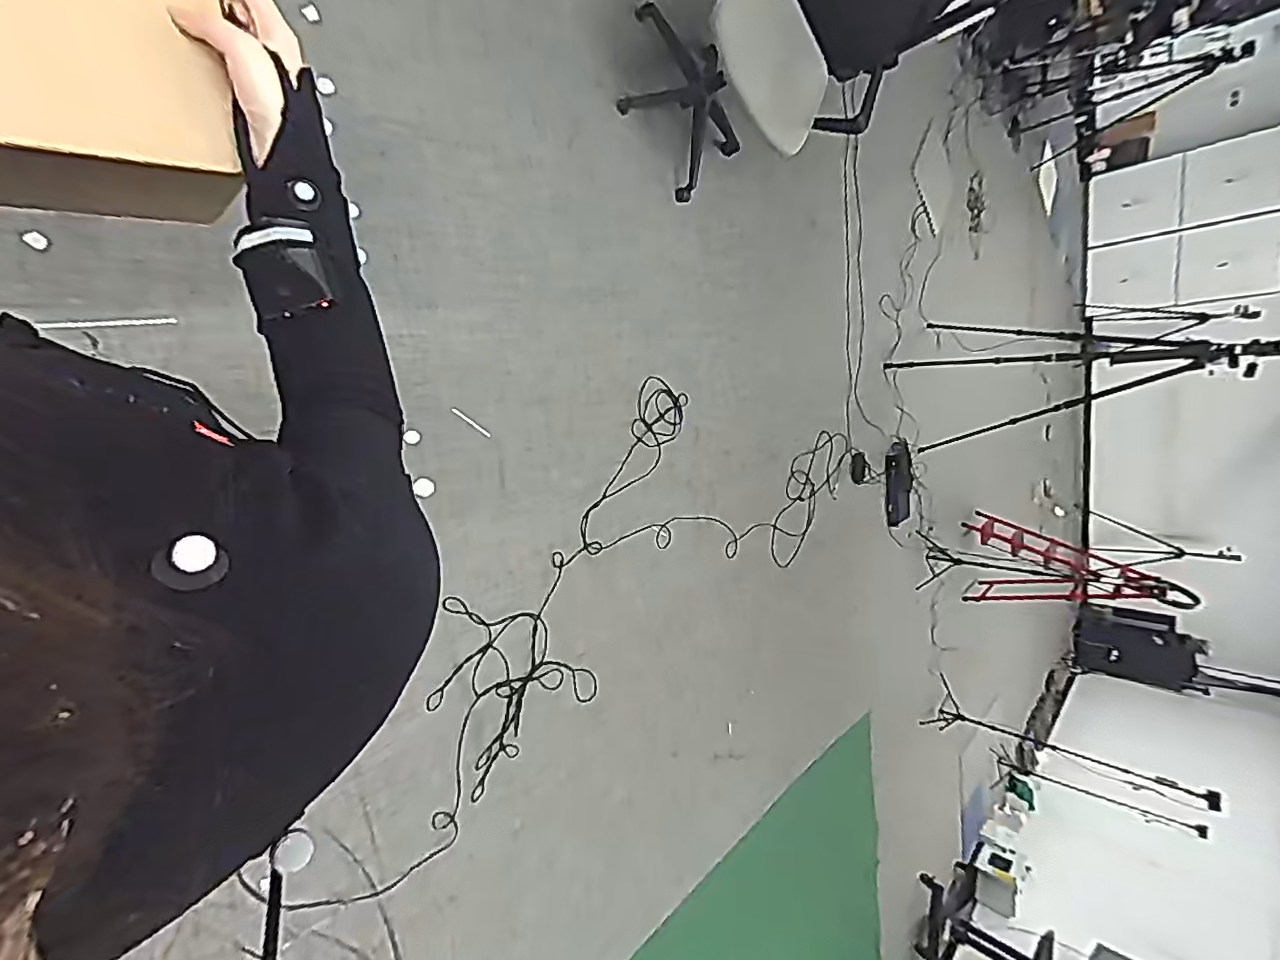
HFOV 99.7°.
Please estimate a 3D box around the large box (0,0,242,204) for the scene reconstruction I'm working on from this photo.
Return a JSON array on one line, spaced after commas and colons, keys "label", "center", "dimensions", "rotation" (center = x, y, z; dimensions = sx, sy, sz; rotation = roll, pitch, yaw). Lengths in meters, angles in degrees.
[{"label": "large box", "center": [-0.558, -0.386, 0.364], "dimensions": [0.408, 0.320, 0.320], "rotation": [-15, 113, -38]}]
